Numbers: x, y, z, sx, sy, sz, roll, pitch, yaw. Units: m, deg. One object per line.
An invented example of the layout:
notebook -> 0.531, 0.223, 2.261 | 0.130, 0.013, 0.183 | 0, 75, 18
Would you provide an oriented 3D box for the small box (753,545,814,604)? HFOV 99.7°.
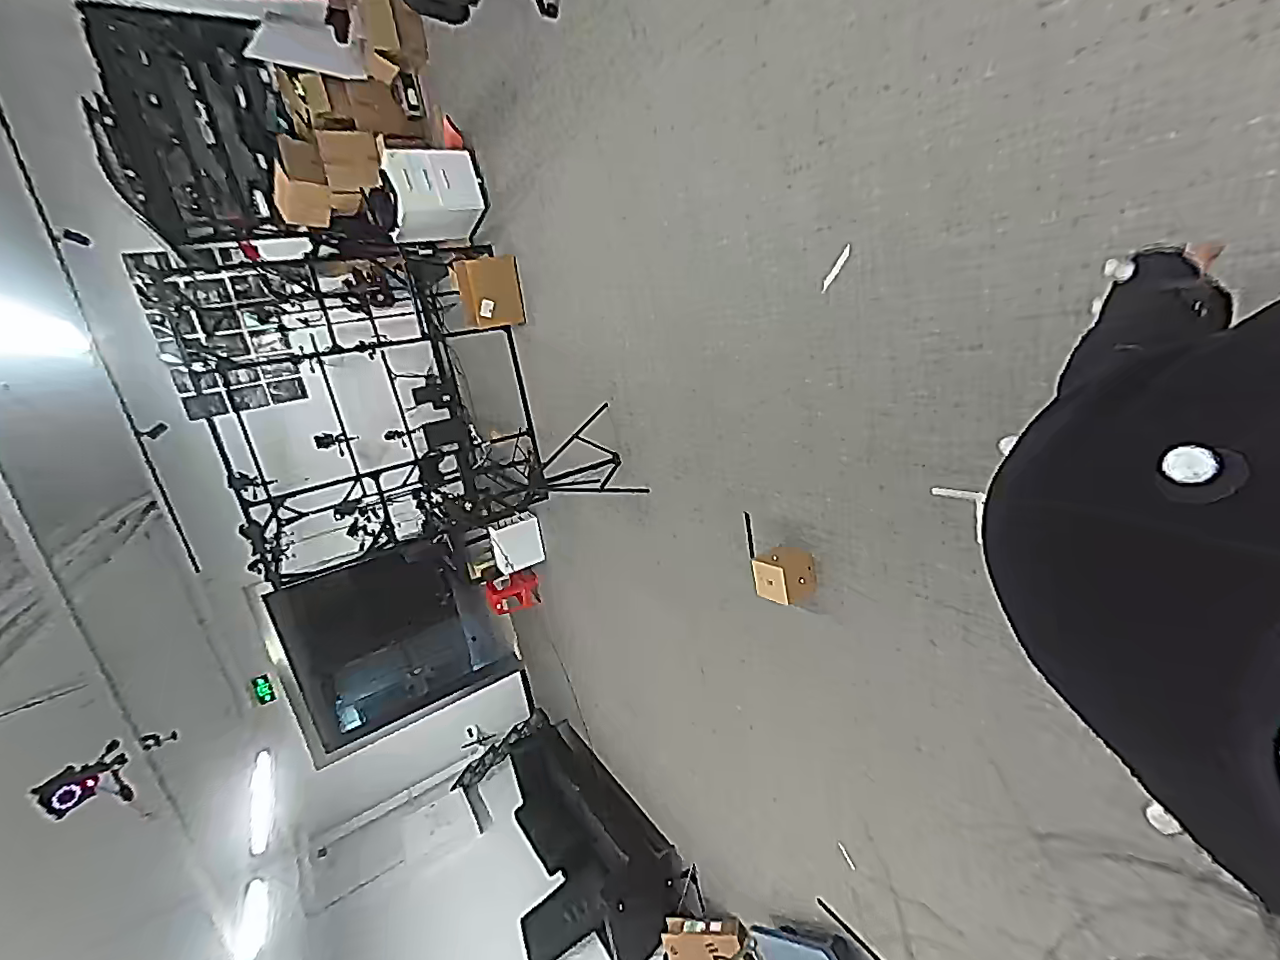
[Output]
small box -> 0.591, 0.379, 2.205 | 0.179, 0.176, 0.168 | 10, 115, 58
